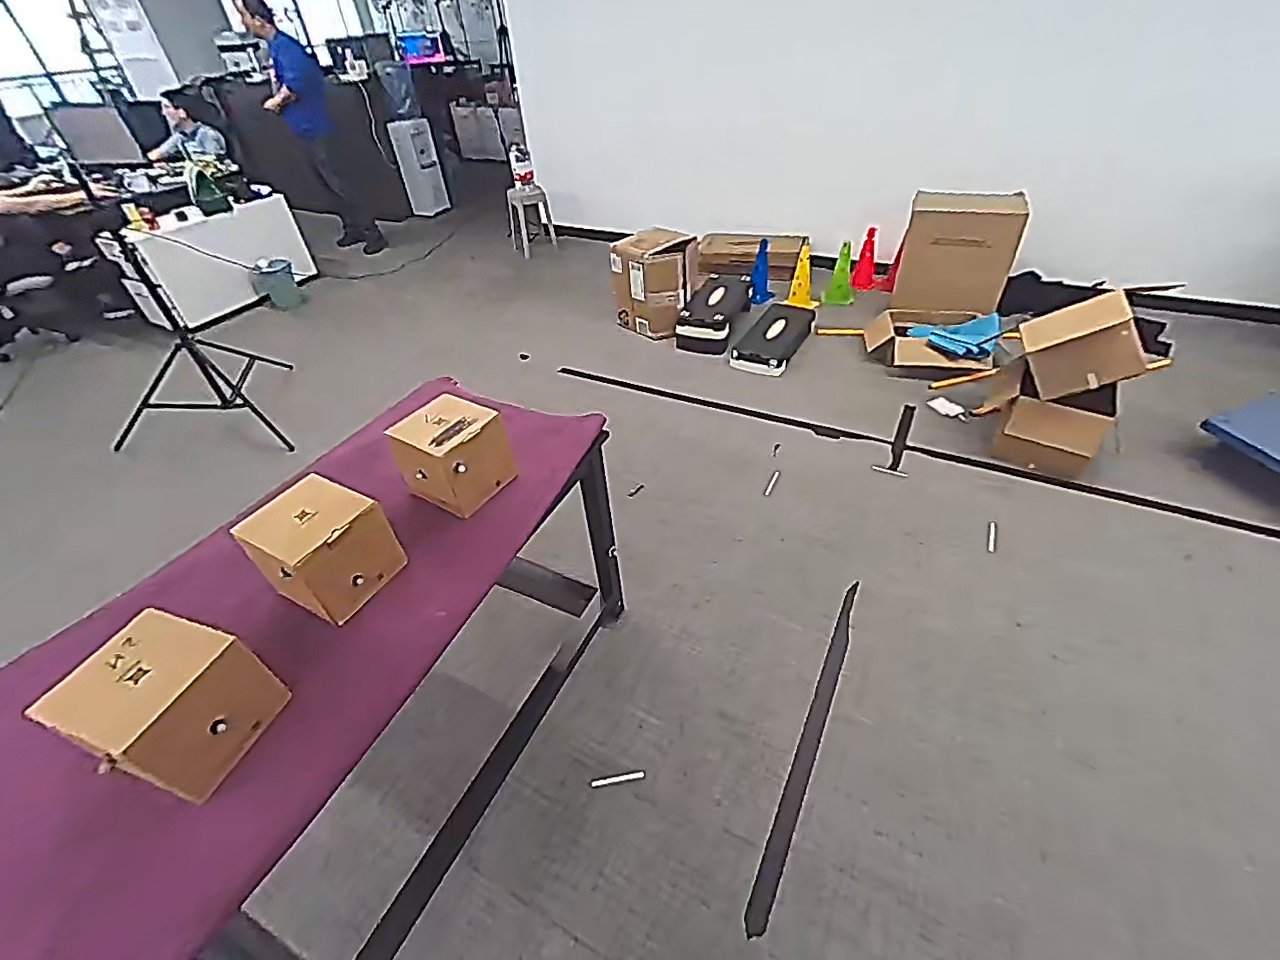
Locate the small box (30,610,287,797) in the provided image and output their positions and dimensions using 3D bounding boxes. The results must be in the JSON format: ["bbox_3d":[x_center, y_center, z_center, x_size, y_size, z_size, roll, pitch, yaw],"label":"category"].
[{"bbox_3d":[-0.651,0.315,0.758,0.179,0.176,0.168,10,43,16],"label":"small box"}]

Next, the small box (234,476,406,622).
[{"bbox_3d":[-0.563,0.124,0.970,0.179,0.176,0.168,18,46,23],"label":"small box"}]
